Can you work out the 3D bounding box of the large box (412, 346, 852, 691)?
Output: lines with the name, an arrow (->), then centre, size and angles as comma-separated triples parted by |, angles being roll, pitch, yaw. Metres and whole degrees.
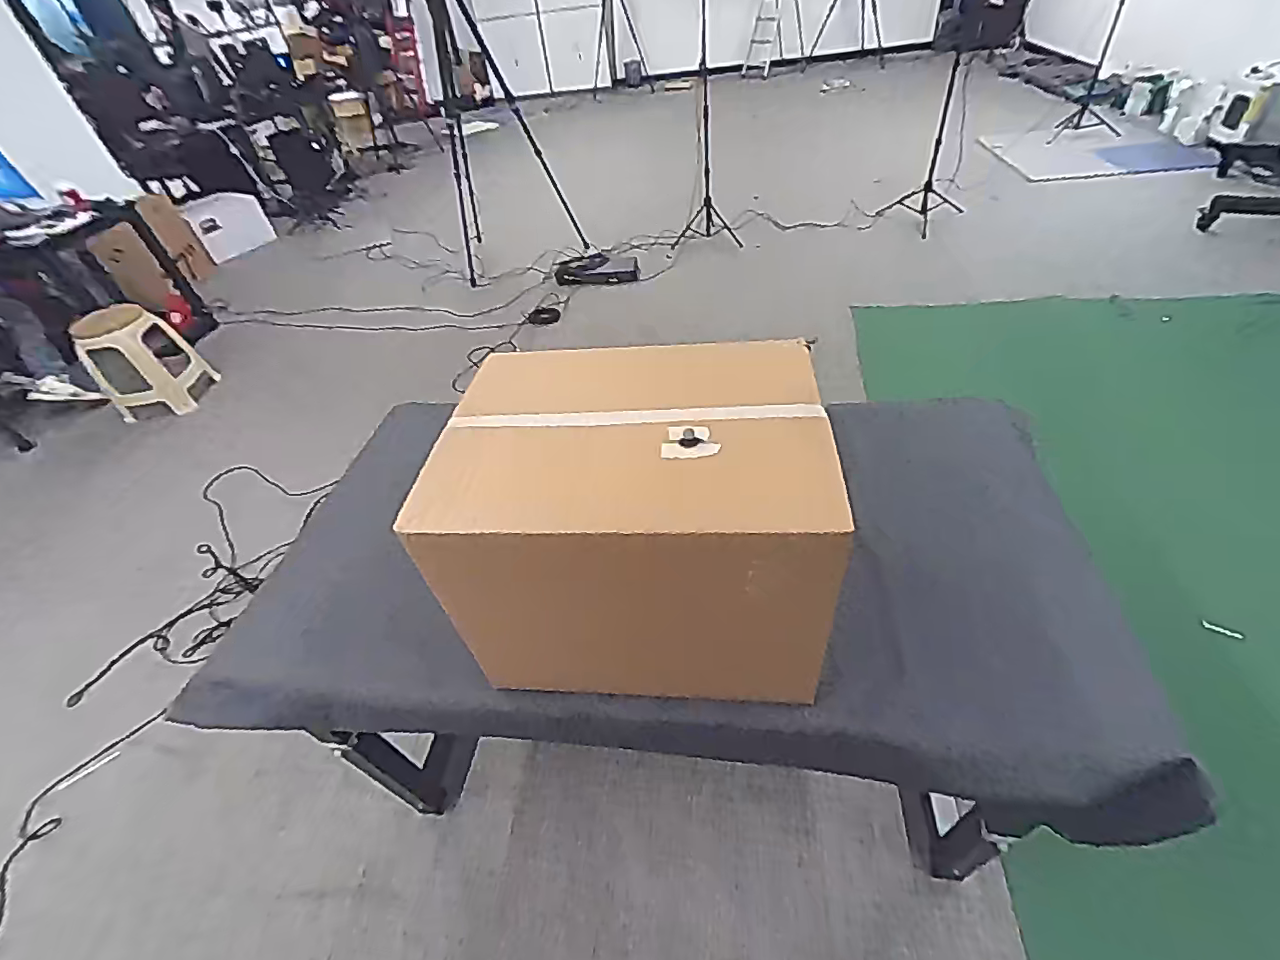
large box -> 0.007, 0.049, 0.683 | 0.408, 0.320, 0.320 | -1, 43, 7
